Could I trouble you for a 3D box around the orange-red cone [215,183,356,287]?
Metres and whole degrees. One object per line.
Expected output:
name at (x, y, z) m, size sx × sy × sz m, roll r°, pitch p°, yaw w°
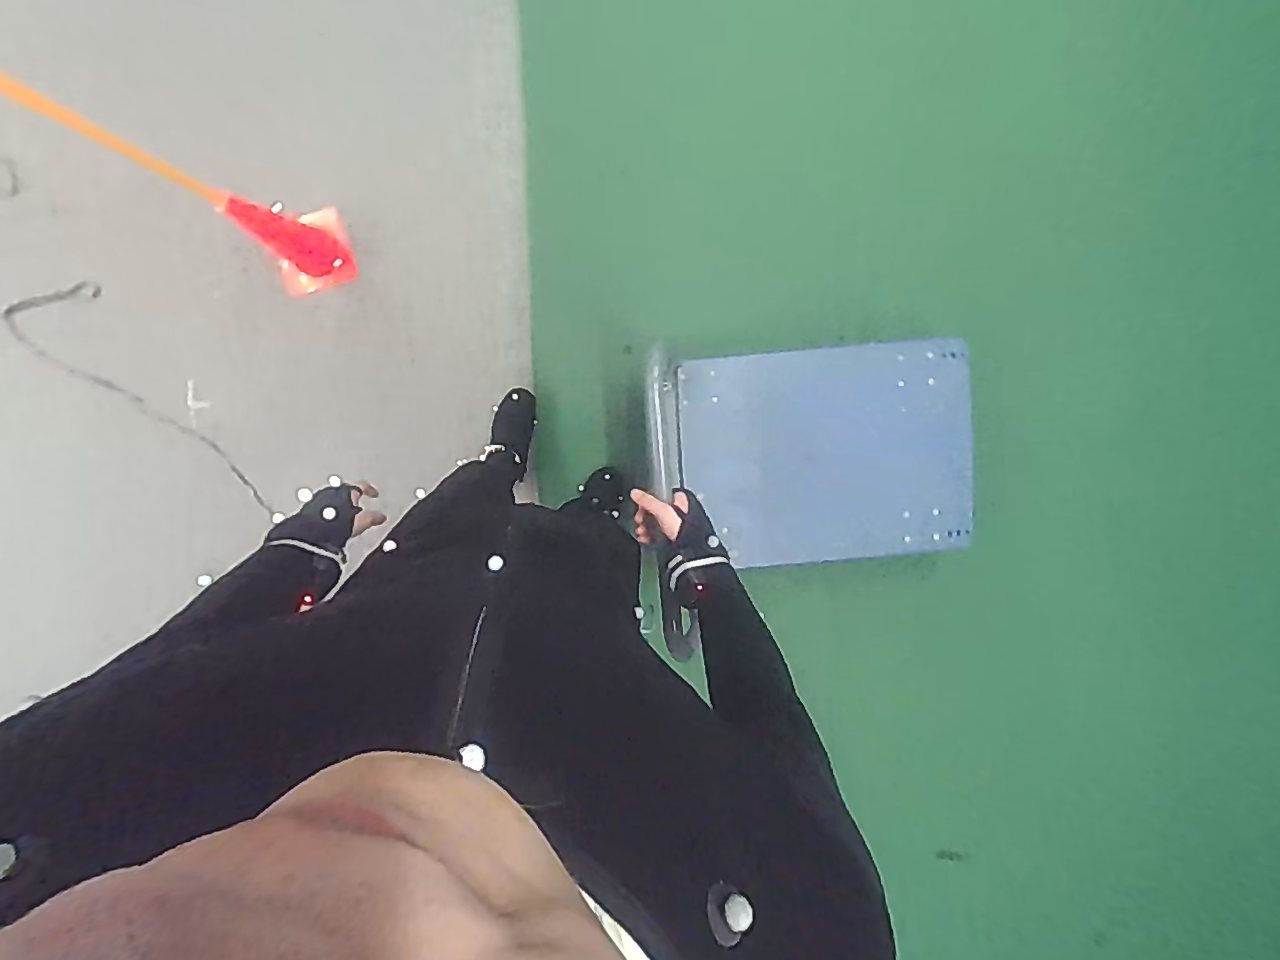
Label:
orange-red cone at (-0.912, -0.645, 1.350) m, size 0.198 × 0.360 × 0.199 m, roll -16°, pitch 94°, yaw 0°
